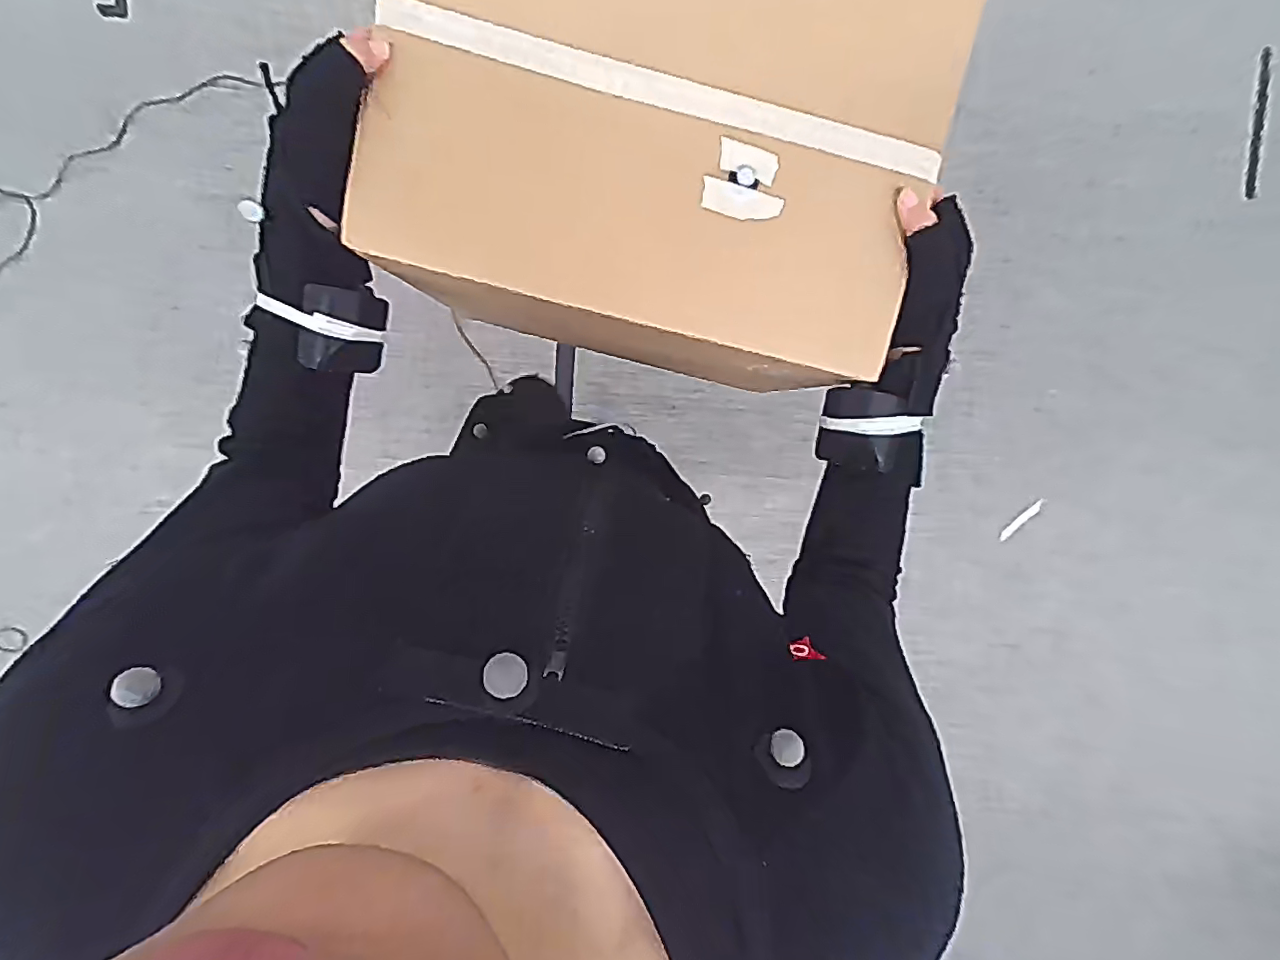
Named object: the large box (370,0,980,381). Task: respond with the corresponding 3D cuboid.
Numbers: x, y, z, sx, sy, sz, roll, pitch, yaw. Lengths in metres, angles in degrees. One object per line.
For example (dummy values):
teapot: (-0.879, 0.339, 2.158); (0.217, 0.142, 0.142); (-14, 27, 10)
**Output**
large box: (0.018, -0.298, 0.537); (0.408, 0.320, 0.320); (13, 98, -5)
